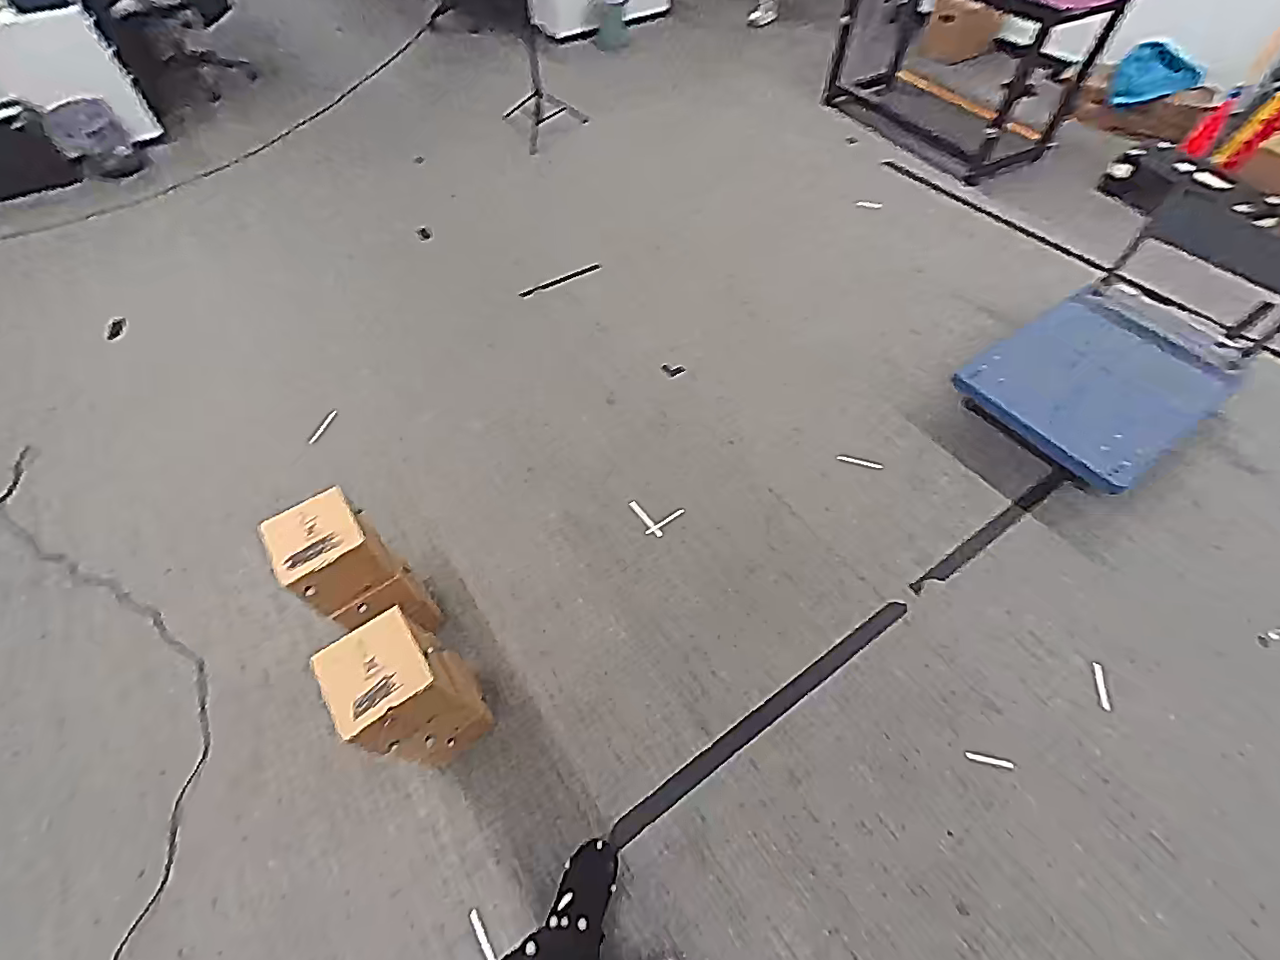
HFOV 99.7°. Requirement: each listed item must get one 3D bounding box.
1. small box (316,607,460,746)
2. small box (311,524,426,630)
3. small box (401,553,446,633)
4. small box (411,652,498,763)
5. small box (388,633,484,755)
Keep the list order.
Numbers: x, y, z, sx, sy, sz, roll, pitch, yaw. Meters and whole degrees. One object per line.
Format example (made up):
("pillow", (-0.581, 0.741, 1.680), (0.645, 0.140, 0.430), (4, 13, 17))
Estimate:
("small box", (-0.466, 0.378, 1.023), (0.168, 0.176, 0.179), (-31, 61, -19))
("small box", (-0.650, 0.247, 1.307), (0.168, 0.176, 0.179), (-32, 61, -19))
("small box", (-0.651, 0.334, 1.447), (0.179, 0.176, 0.168), (-32, 62, -20))
("small box", (-0.465, 0.551, 1.300), (0.179, 0.176, 0.168), (-28, 61, -18))
("small box", (-0.460, 0.465, 1.162), (0.168, 0.176, 0.179), (-32, 62, -19))
